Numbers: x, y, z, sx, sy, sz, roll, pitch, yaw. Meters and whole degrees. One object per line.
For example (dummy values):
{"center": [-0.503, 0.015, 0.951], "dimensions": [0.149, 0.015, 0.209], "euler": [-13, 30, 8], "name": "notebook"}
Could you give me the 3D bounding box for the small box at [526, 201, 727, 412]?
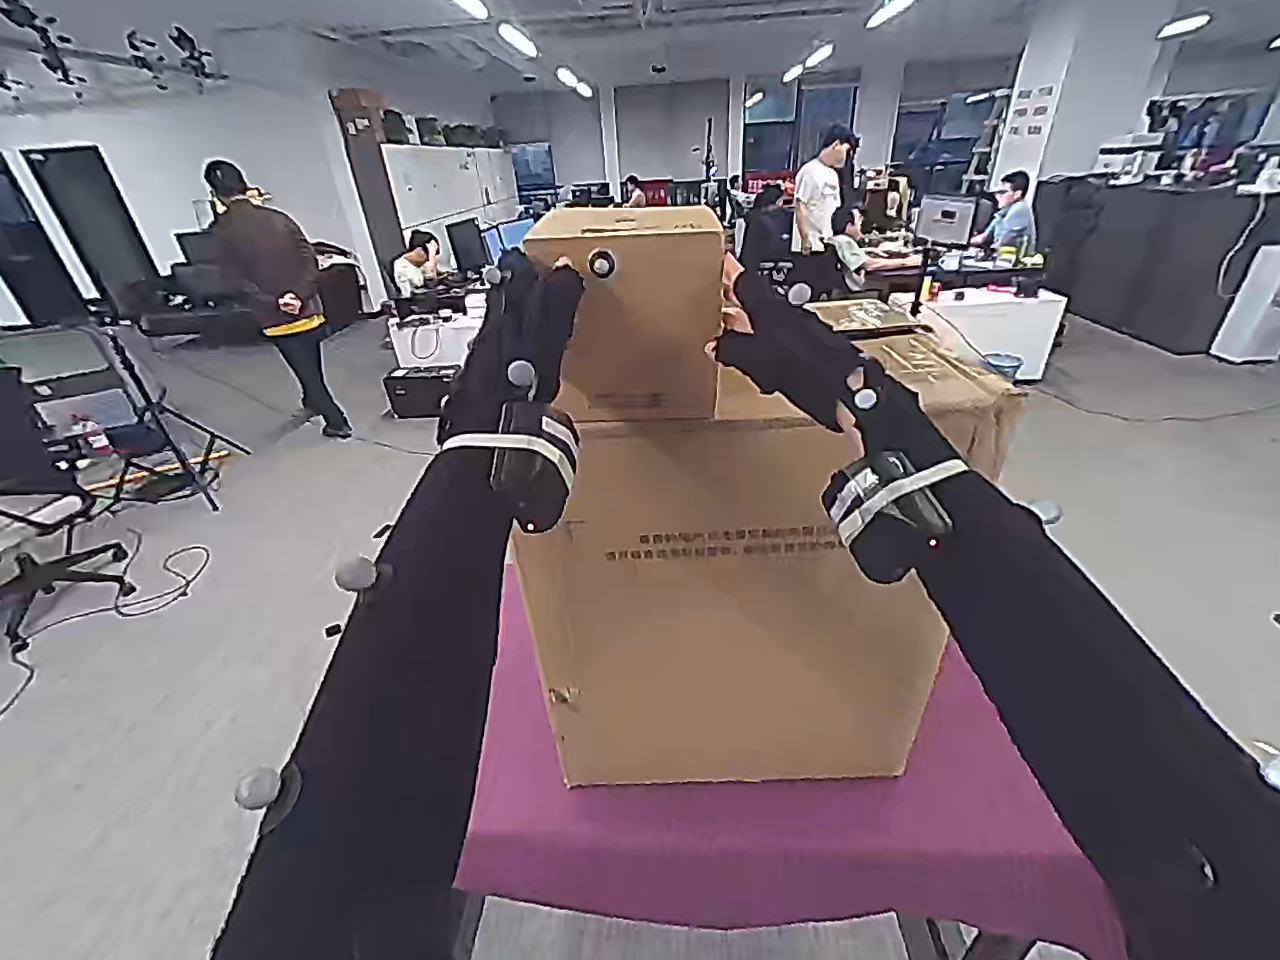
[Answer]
{"center": [-0.007, -0.178, 0.544], "dimensions": [0.168, 0.176, 0.179], "euler": [-2, 32, 3], "name": "small box"}
